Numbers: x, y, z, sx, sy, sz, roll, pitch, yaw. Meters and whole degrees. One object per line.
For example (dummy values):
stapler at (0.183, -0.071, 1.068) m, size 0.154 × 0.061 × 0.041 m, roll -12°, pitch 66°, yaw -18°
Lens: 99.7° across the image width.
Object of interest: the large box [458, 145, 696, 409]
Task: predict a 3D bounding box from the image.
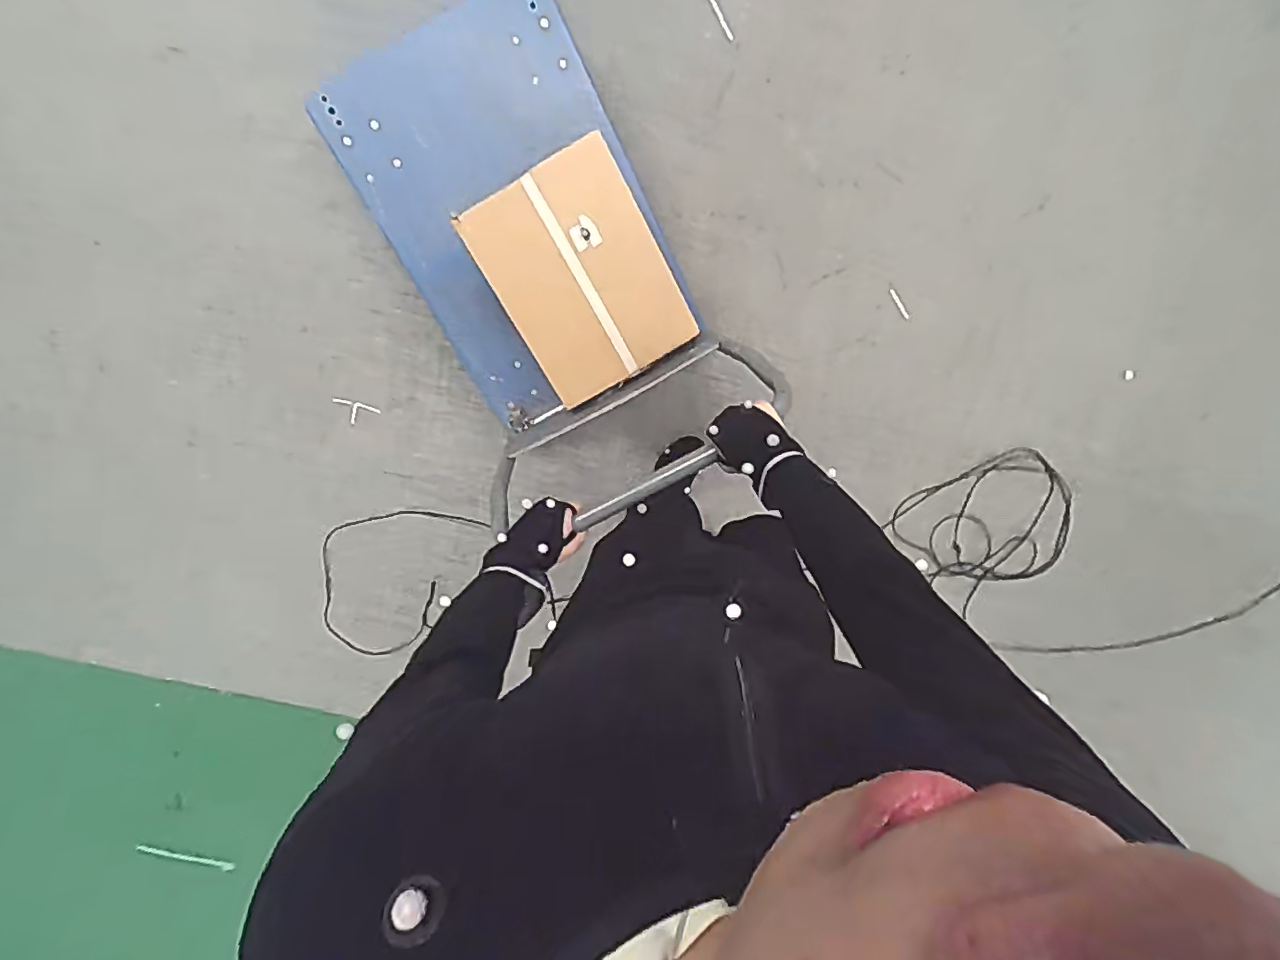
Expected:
large box at (-0.123, -0.423, 1.195) m, size 0.320 × 0.320 × 0.408 m, roll -30°, pitch 108°, yaw 4°
